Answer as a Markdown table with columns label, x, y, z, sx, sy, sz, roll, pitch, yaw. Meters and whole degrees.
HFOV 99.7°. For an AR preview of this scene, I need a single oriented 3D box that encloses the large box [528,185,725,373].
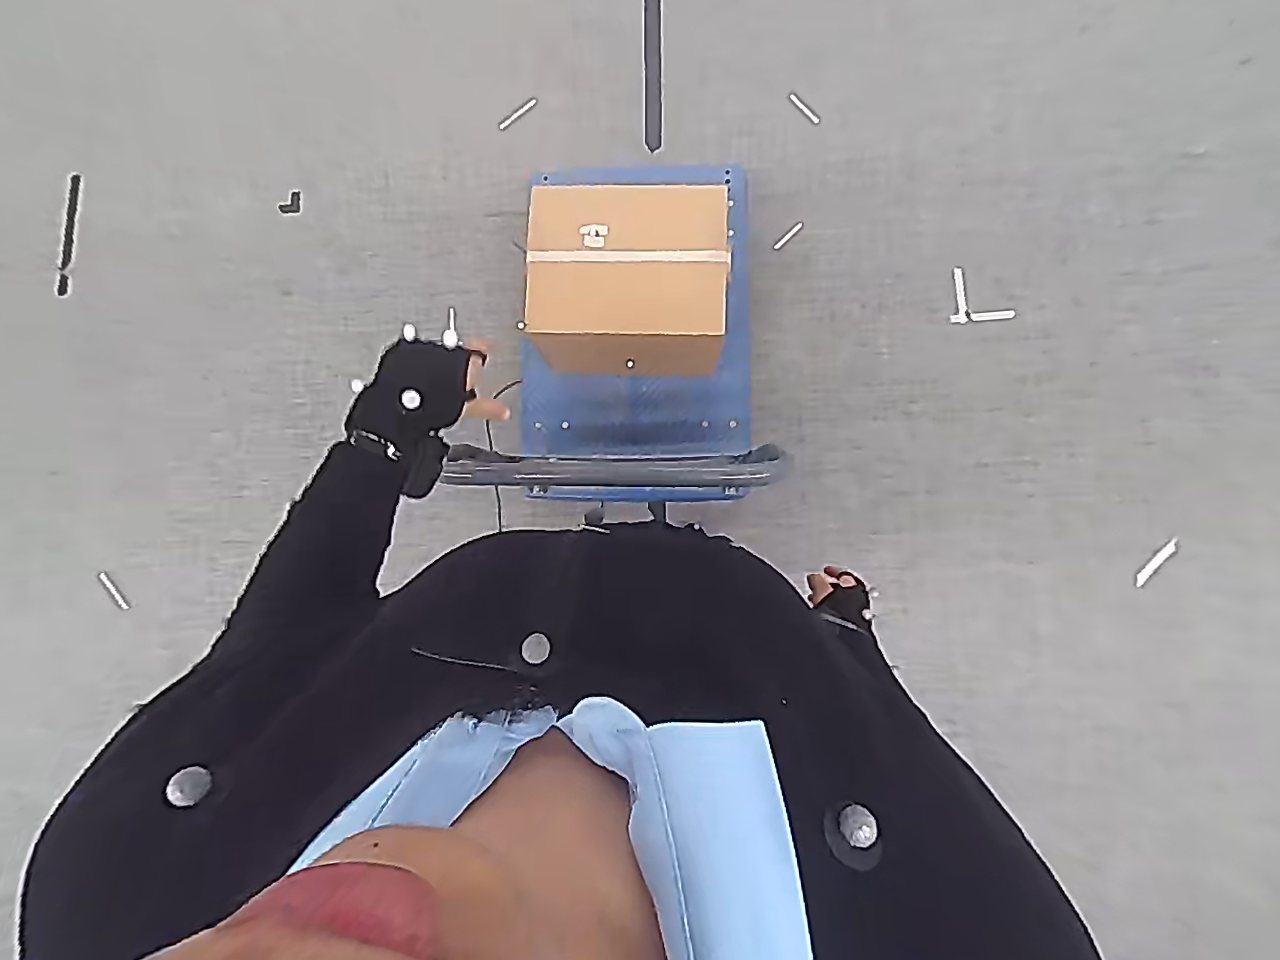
| label | x | y | z | sx | sy | sz | roll | pitch | yaw |
| --- | --- | --- | --- | --- | --- | --- | --- | --- | --- |
| large box | -0.015 | -0.436 | 1.248 | 0.408 | 0.320 | 0.320 | 1 | 84 | 4 |
